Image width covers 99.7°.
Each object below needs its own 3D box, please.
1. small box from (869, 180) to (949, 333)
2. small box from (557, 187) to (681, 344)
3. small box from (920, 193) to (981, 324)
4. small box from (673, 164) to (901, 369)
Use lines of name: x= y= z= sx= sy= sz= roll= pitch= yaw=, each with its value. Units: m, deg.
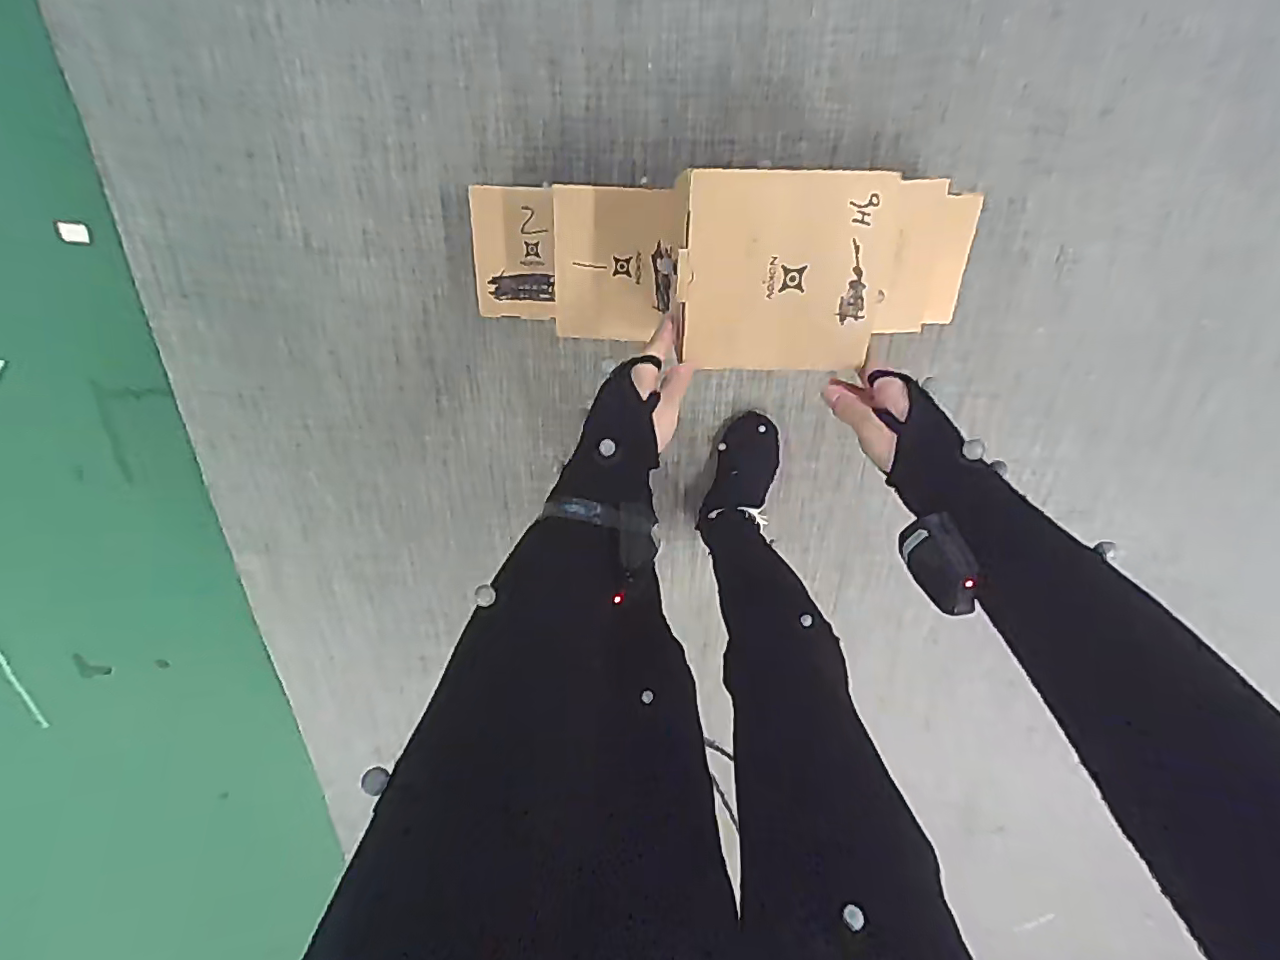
small box: x=0.251 y=-0.286 z=0.695 sx=0.179 sy=0.176 sz=0.168 roll=-1 pitch=116 yaw=-1
small box: x=-0.009 y=-0.278 z=0.697 sx=0.179 sy=0.176 sz=0.168 roll=3 pitch=115 yaw=0
small box: x=0.386 y=-0.348 z=0.847 sx=0.168 sy=0.176 sz=0.179 roll=1 pitch=115 yaw=0
small box: x=0.126 y=-0.215 z=0.546 sx=0.179 sy=0.176 sz=0.168 roll=1 pitch=116 yaw=0
